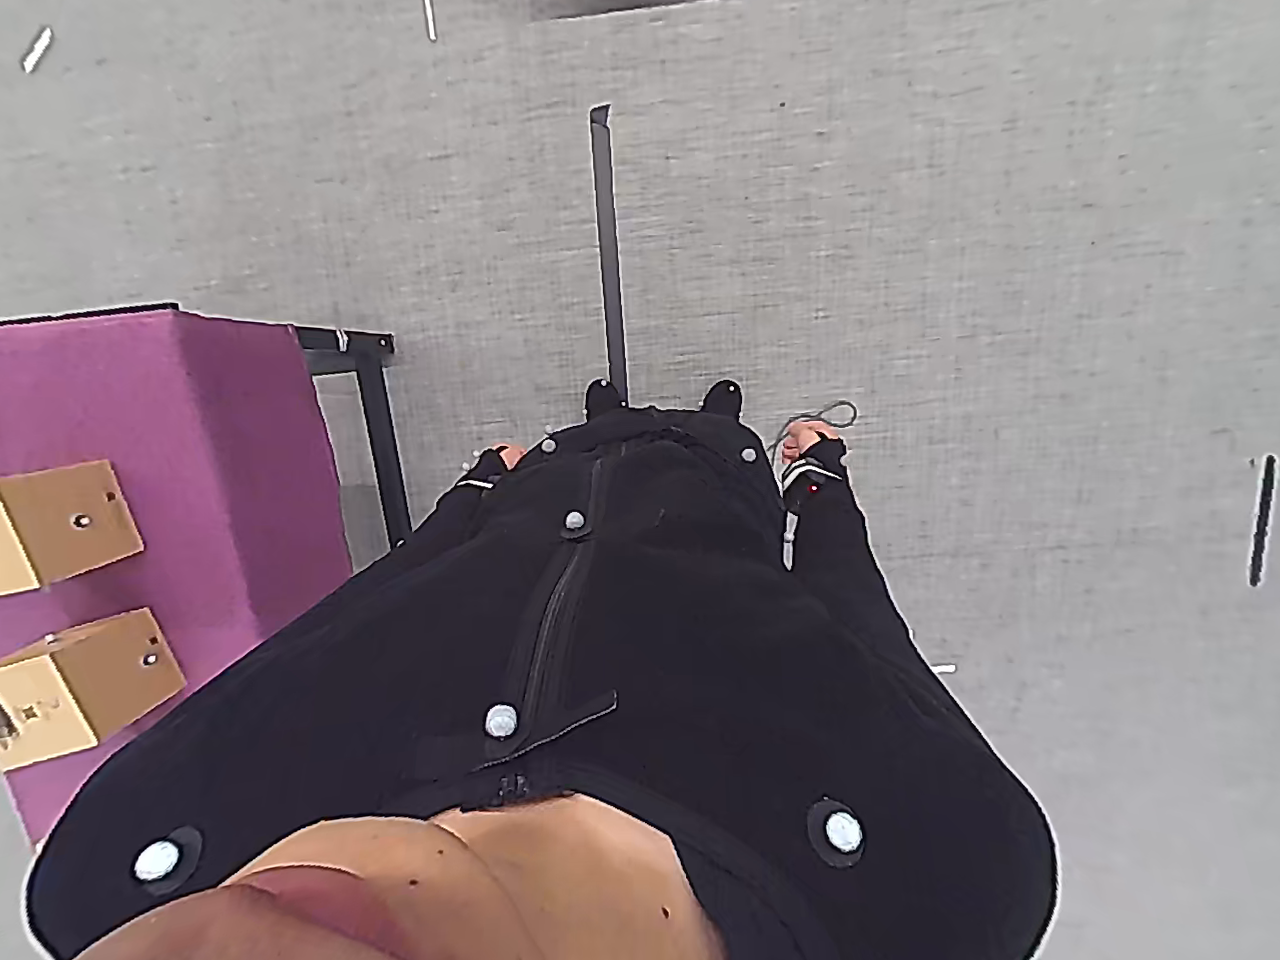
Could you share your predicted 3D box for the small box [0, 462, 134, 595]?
[{"bbox_3d":[-0.970,0.075,0.862,0.179,0.176,0.168,-10,102,5],"label":"small box"}]
